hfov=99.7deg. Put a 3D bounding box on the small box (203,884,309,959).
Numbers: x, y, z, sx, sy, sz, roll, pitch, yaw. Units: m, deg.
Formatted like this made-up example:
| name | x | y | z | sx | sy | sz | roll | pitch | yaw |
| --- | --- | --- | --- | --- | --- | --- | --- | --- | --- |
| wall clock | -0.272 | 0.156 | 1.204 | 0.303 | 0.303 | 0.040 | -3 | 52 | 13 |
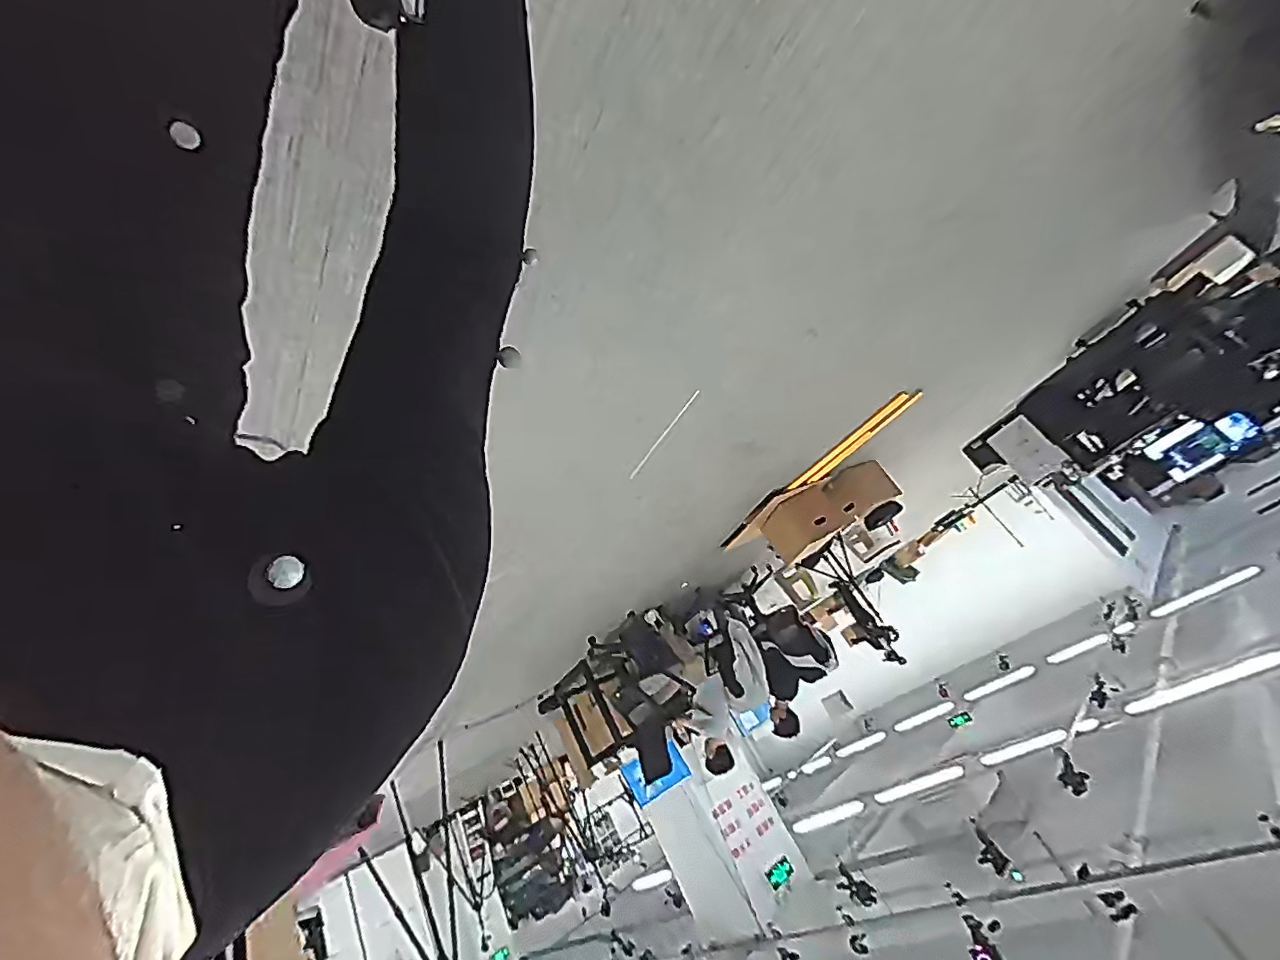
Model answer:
| name | x | y | z | sx | sy | sz | roll | pitch | yaw |
| --- | --- | --- | --- | --- | --- | --- | --- | --- | --- |
| small box | -0.859 | 1.046 | 1.207 | 0.168 | 0.176 | 0.179 | -8 | 146 | -43 |
